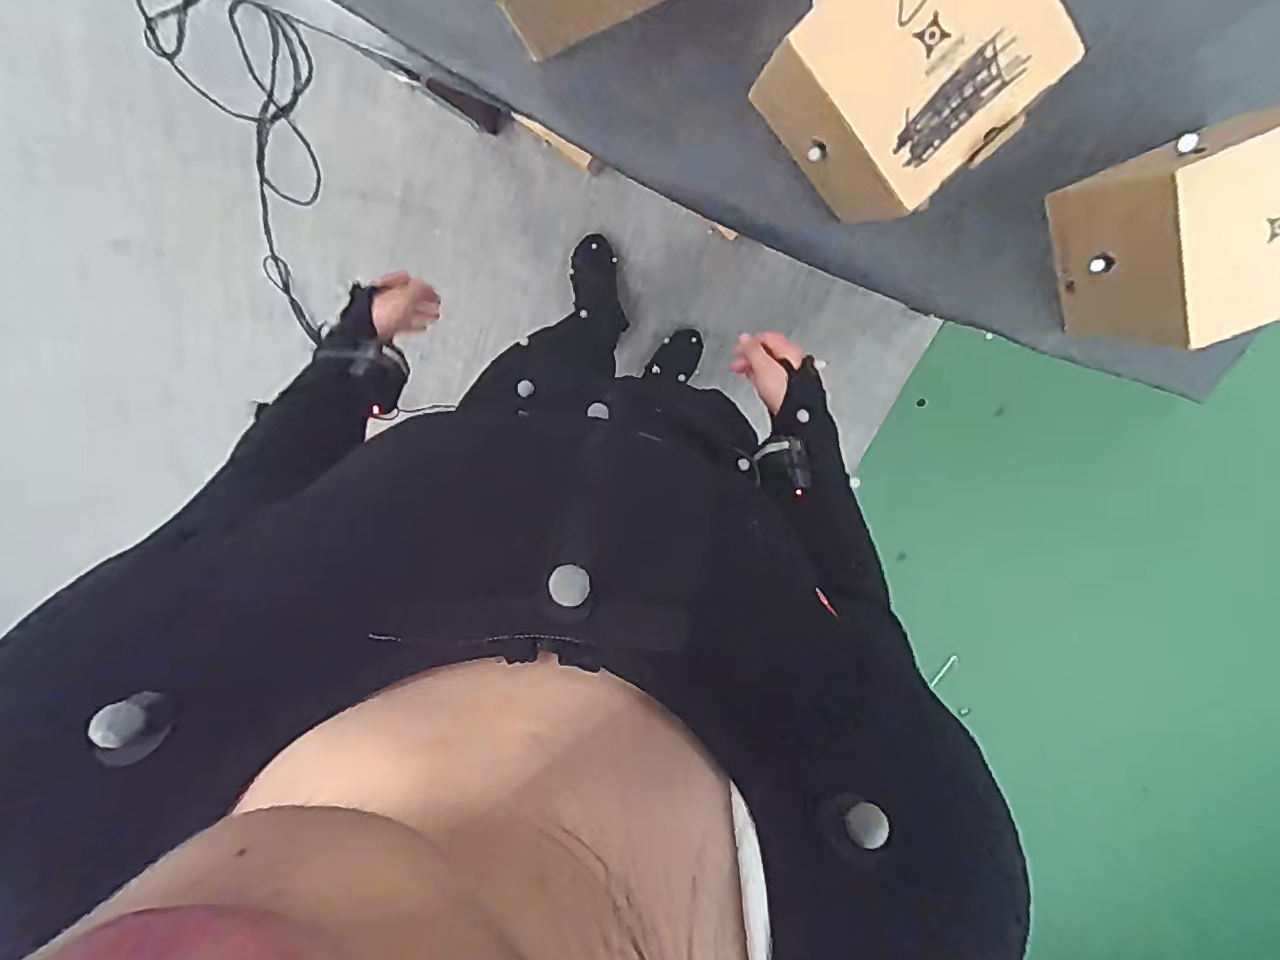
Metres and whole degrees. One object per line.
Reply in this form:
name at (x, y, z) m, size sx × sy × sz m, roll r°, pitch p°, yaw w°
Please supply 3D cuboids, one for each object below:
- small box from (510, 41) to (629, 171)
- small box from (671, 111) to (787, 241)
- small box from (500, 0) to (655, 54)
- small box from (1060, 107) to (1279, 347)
small box at (-0.137, -0.767, 1.112) m, size 0.179 × 0.176 × 0.168 m, roll 31°, pitch 111°, yaw -11°
small box at (0.183, -0.643, 1.165) m, size 0.179 × 0.176 × 0.168 m, roll 39°, pitch 108°, yaw -14°
small box at (-0.062, -0.493, 0.438) m, size 0.179 × 0.176 × 0.168 m, roll -20°, pitch 112°, yaw 8°
small box at (0.560, -0.248, 0.537) m, size 0.179 × 0.176 × 0.168 m, roll -22°, pitch 109°, yaw 9°
